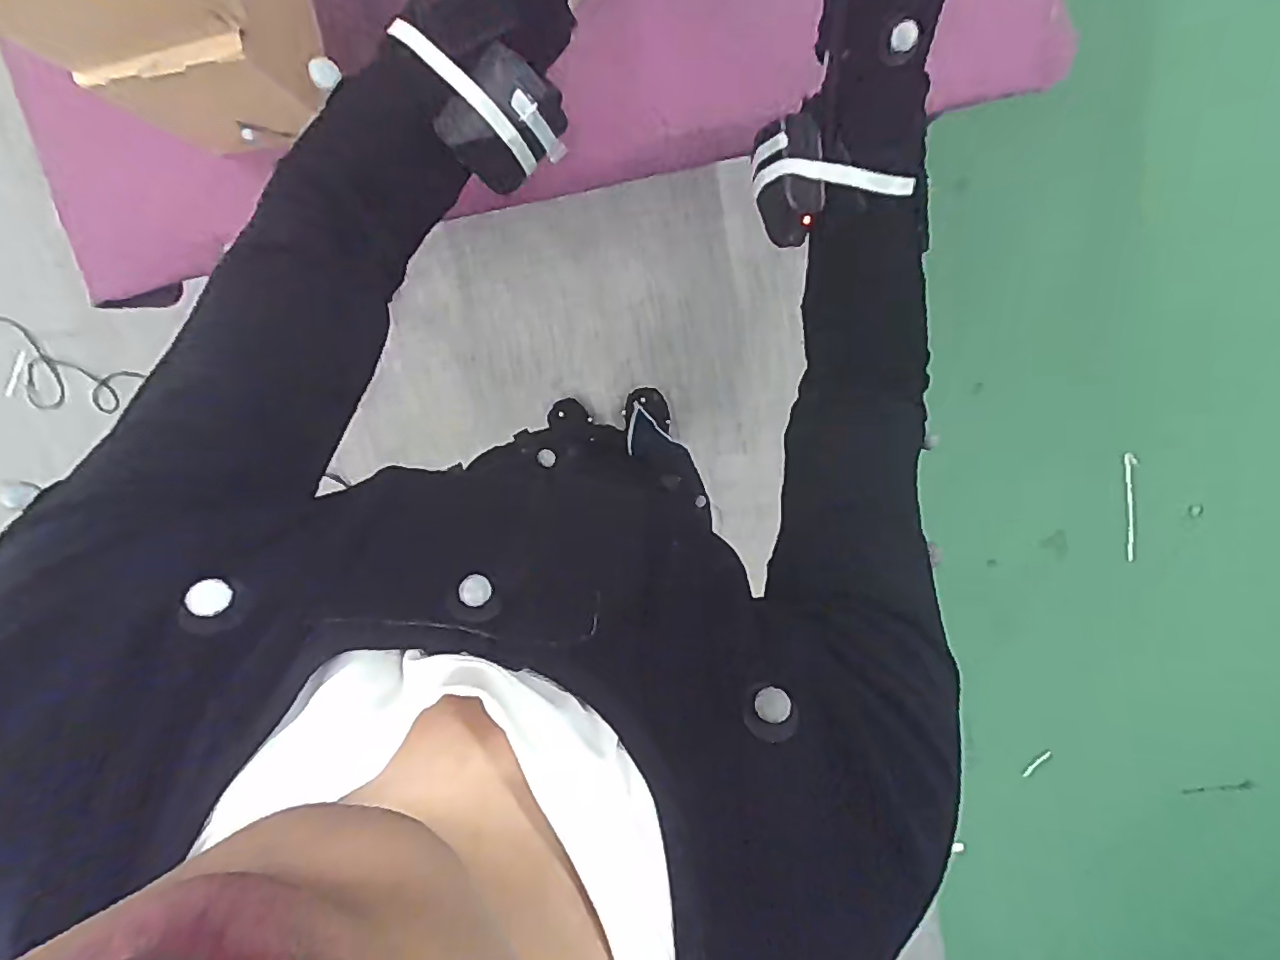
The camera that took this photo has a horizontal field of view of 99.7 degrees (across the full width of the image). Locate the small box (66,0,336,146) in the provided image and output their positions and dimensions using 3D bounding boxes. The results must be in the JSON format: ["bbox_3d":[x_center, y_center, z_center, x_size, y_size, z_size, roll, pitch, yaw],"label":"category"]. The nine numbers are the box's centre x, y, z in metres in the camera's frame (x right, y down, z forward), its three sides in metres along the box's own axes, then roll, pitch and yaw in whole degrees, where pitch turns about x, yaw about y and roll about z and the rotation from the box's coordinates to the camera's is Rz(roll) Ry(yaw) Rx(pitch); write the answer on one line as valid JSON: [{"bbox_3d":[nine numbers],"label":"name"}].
[{"bbox_3d":[-0.454,-0.483,0.560,0.168,0.176,0.179,-8,102,1],"label":"small box"}]

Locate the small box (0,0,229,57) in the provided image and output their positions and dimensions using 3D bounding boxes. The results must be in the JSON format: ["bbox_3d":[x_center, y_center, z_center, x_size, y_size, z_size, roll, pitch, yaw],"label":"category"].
[{"bbox_3d":[-0.451,-0.460,0.398,0.179,0.176,0.168,-12,102,2],"label":"small box"}]
